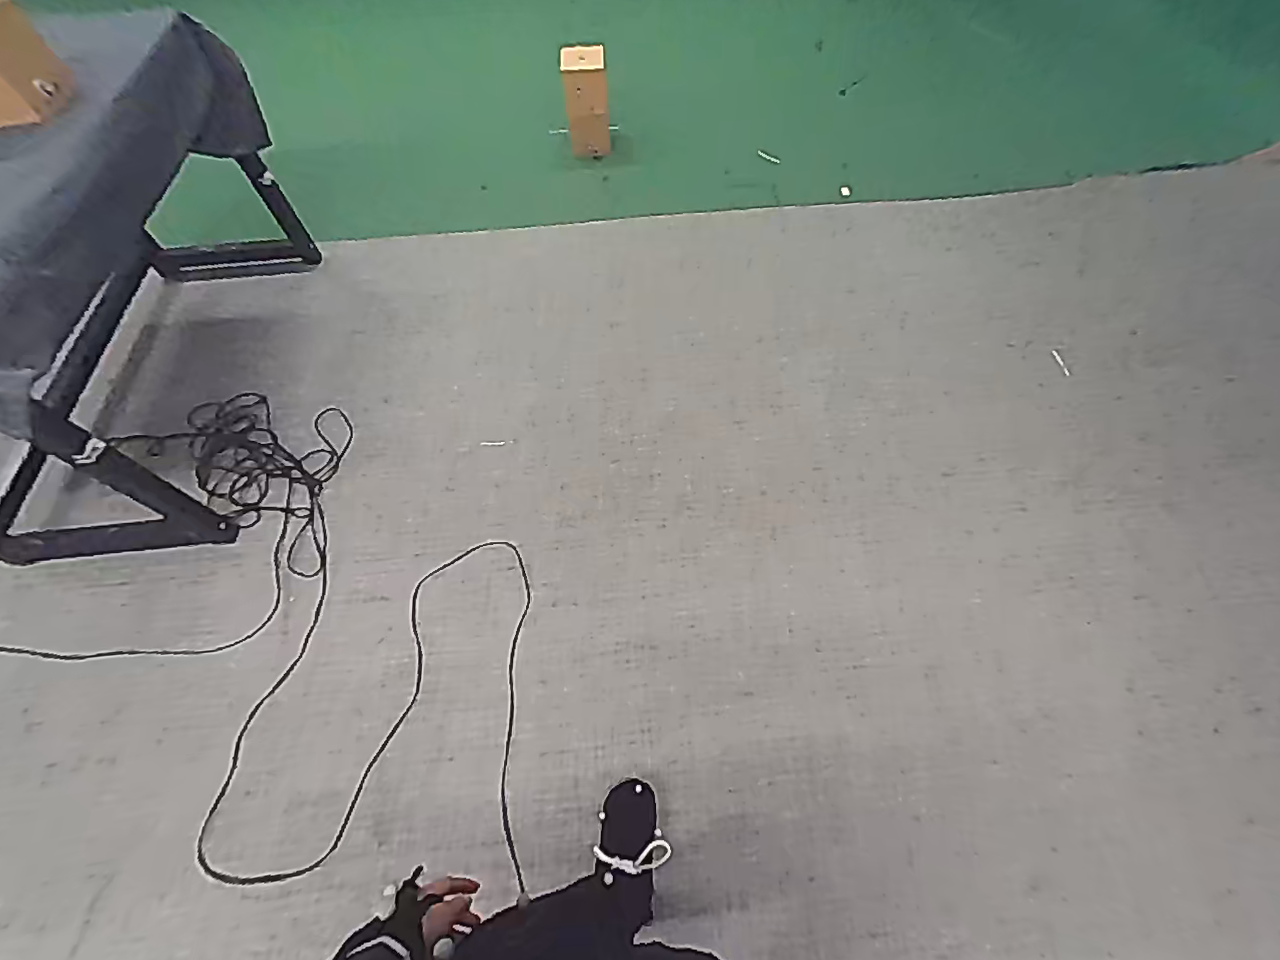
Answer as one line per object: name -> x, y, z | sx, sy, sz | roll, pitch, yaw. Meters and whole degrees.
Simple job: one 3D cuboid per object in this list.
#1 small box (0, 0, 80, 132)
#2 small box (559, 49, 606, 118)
small box -> -1.329, -0.833, 1.098 | 0.179, 0.176, 0.168 | -4, 61, -2
small box -> -0.223, -1.557, 2.131 | 0.168, 0.176, 0.179 | -4, 60, 0
